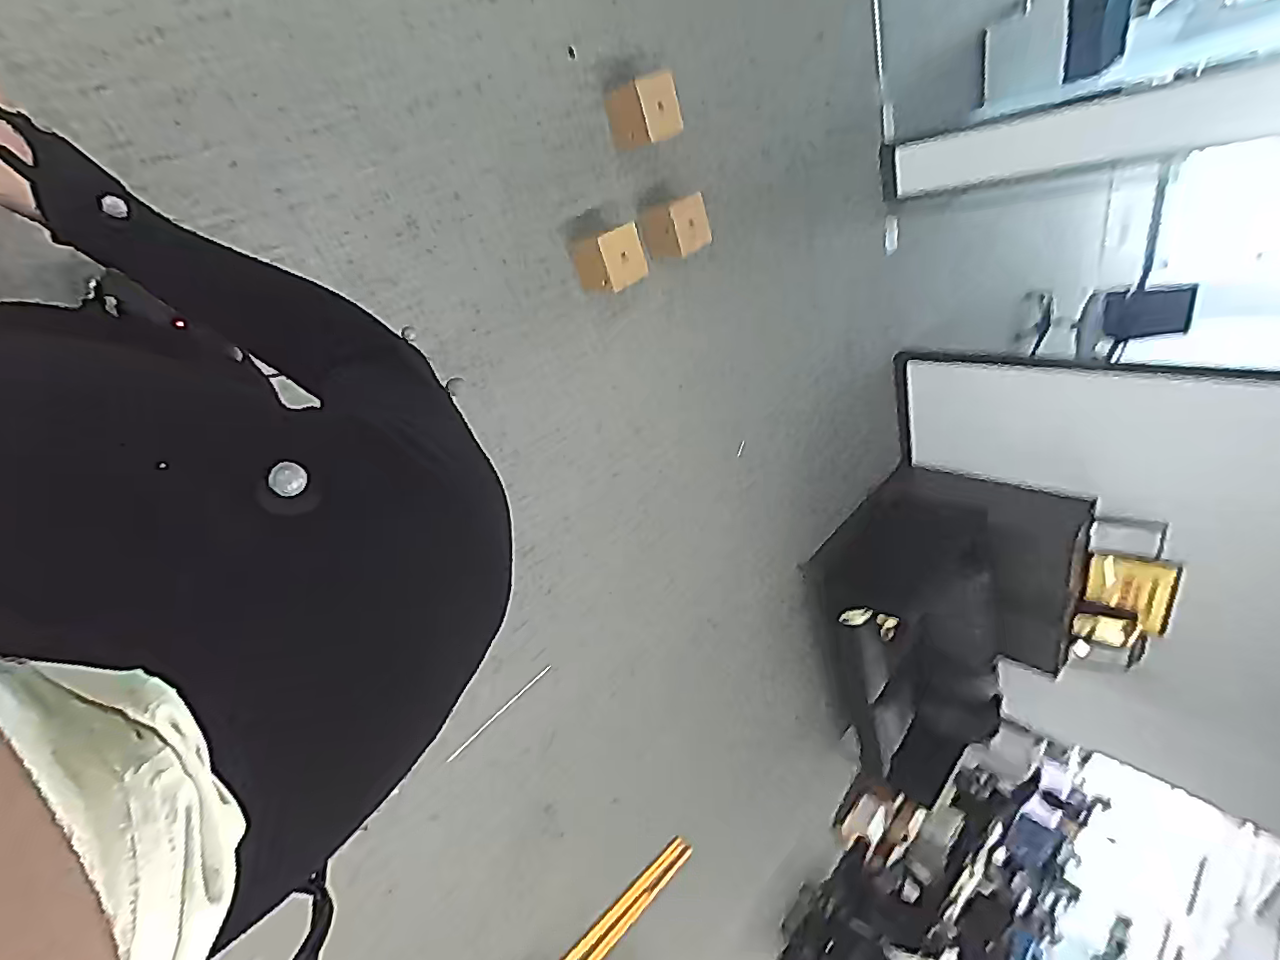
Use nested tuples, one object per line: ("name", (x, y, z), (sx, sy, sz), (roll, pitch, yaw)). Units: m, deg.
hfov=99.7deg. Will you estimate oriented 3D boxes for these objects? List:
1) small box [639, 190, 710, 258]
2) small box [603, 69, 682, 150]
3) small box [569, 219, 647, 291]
("small box", (0.121, -0.922, 1.957), (0.168, 0.176, 0.179), (-39, 126, -26))
("small box", (0.008, -1.206, 1.771), (0.168, 0.176, 0.179), (-39, 125, -28))
("small box", (-0.110, -0.747, 1.810), (0.168, 0.176, 0.179), (-40, 127, -27))
